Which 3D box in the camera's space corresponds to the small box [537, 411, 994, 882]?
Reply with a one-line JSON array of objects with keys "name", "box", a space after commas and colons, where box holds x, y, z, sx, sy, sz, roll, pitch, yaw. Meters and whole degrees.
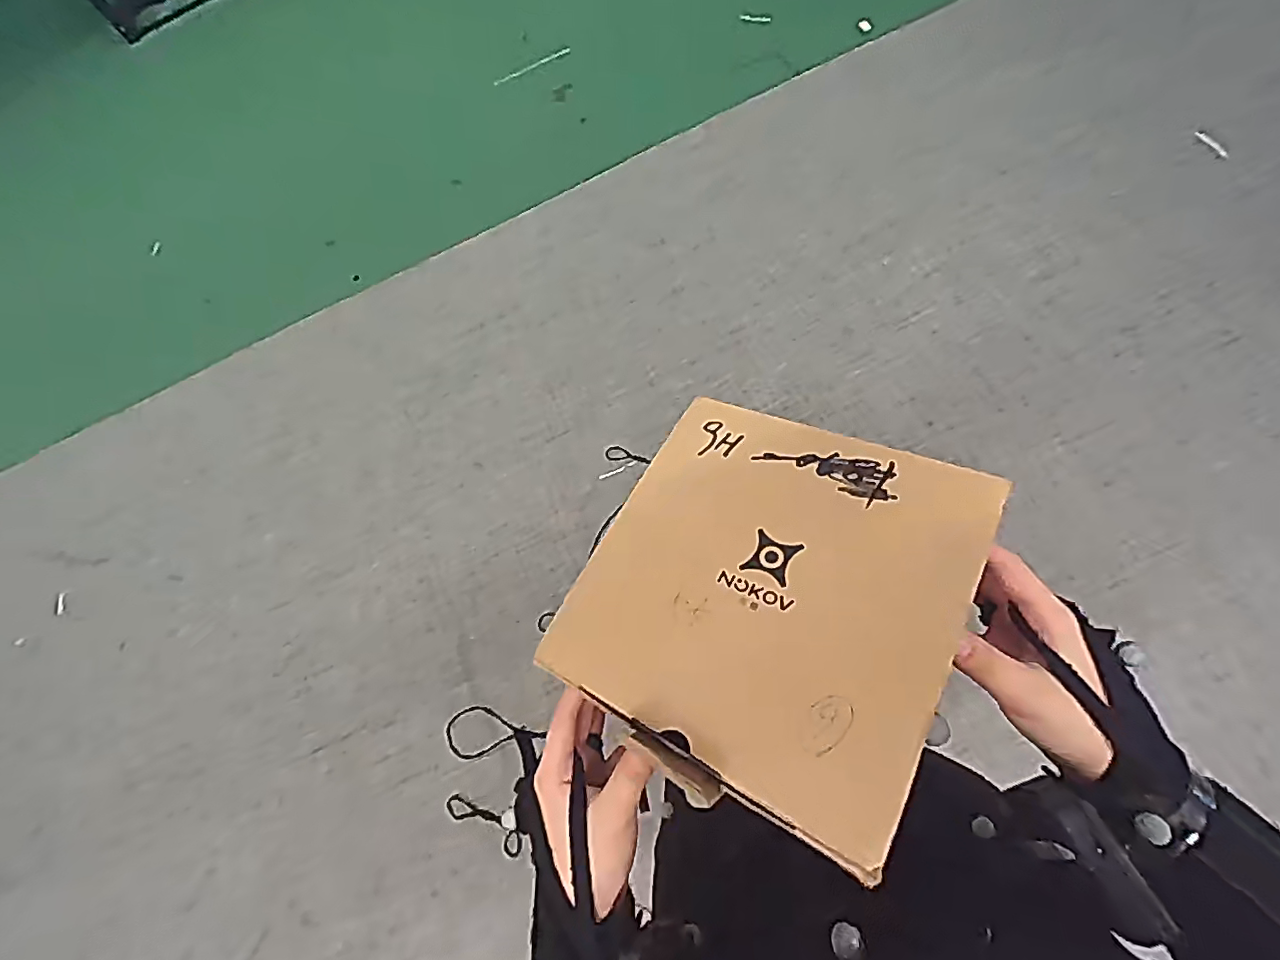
[{"name": "small box", "box": [0.078, 0.093, 0.323, 0.168, 0.176, 0.179, 21, 67, 29]}]
